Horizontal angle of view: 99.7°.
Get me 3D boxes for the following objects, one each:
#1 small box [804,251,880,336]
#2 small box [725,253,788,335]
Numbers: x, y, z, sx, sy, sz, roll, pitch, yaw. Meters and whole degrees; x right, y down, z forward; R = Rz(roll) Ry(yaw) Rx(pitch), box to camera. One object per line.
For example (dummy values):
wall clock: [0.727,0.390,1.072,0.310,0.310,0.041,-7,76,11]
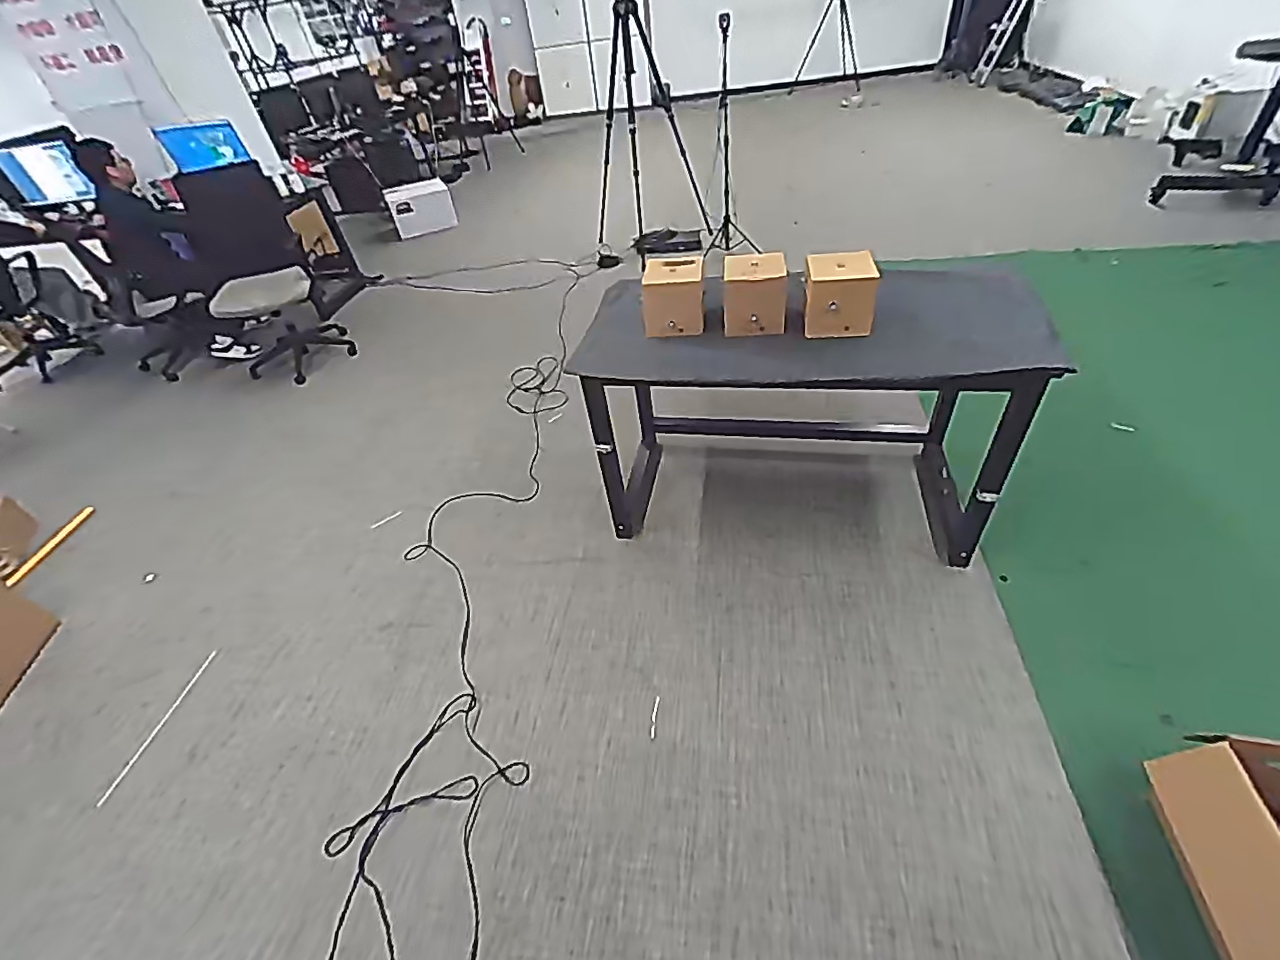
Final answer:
small box: [0.542,-0.503,1.471,0.168,0.176,0.179,0,42,11]
small box: [0.327,-0.526,1.532,0.168,0.176,0.179,0,43,11]
